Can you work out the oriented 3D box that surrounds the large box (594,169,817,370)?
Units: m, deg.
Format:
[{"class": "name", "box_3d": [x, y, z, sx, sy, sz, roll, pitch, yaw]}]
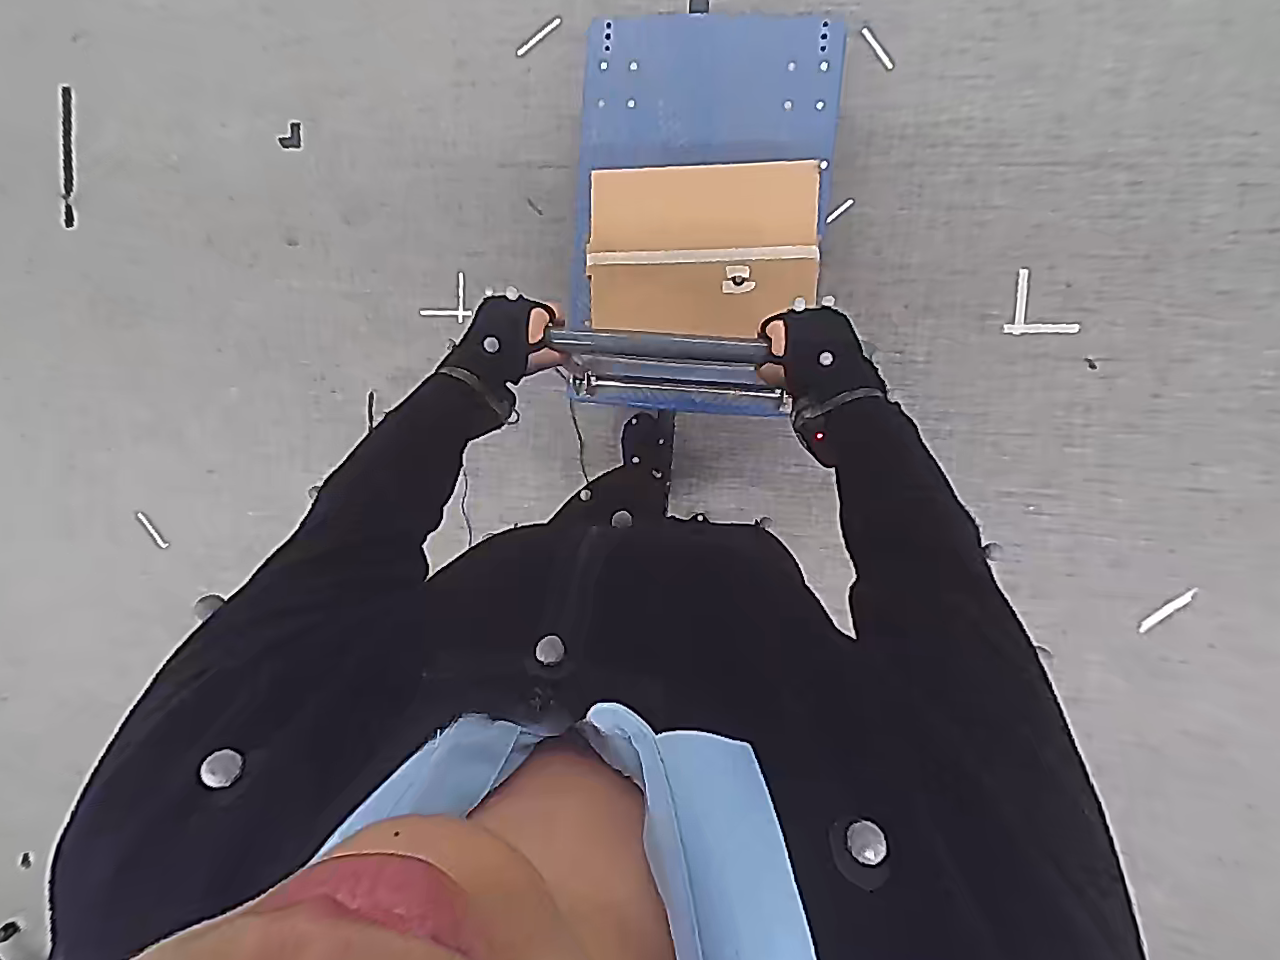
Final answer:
[{"class": "large box", "box_3d": [0.128, -0.407, 1.128, 0.408, 0.320, 0.320, 1, 96, 5]}]
